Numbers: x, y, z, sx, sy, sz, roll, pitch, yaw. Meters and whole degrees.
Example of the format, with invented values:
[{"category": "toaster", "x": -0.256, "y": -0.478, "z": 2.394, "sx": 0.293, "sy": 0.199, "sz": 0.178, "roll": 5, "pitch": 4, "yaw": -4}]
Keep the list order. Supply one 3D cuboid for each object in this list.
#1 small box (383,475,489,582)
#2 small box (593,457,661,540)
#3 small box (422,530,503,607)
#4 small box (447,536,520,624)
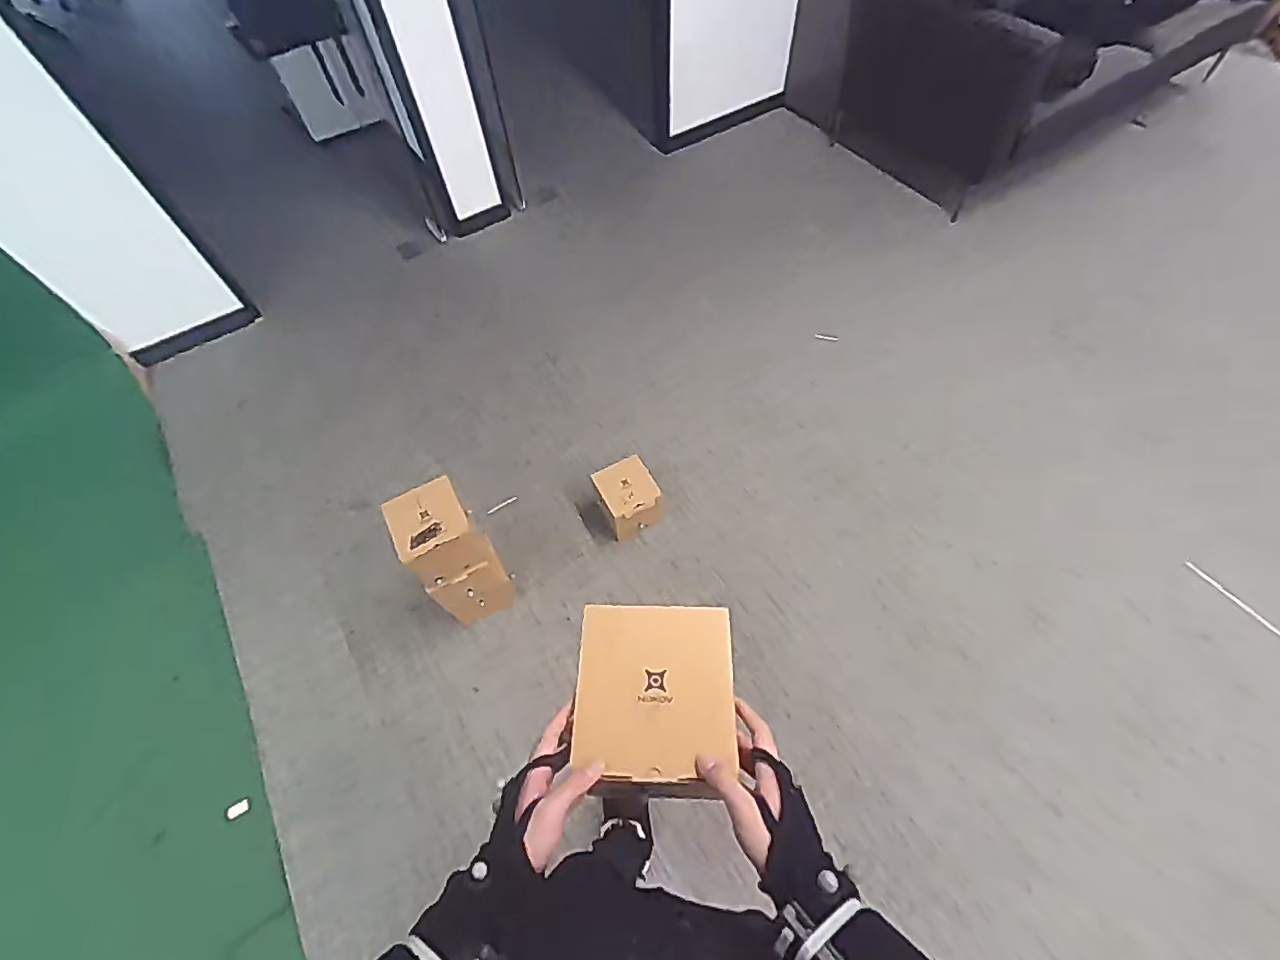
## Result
[{"category": "small box", "x": -0.485, "y": 0.126, "z": 1.308, "sx": 0.168, "sy": 0.176, "sz": 0.179, "roll": -26, "pitch": 62, "yaw": -13}, {"category": "small box", "x": -0.039, "y": 0.062, "z": 1.707, "sx": 0.168, "sy": 0.176, "sz": 0.179, "roll": -20, "pitch": 62, "yaw": -7}, {"category": "small box", "x": -0.484, "y": 0.221, "z": 1.444, "sx": 0.168, "sy": 0.176, "sz": 0.179, "roll": -25, "pitch": 63, "yaw": -13}, {"category": "small box", "x": -0.476, "y": 0.299, "z": 1.587, "sx": 0.179, "sy": 0.176, "sz": 0.168, "roll": -25, "pitch": 62, "yaw": -12}]
